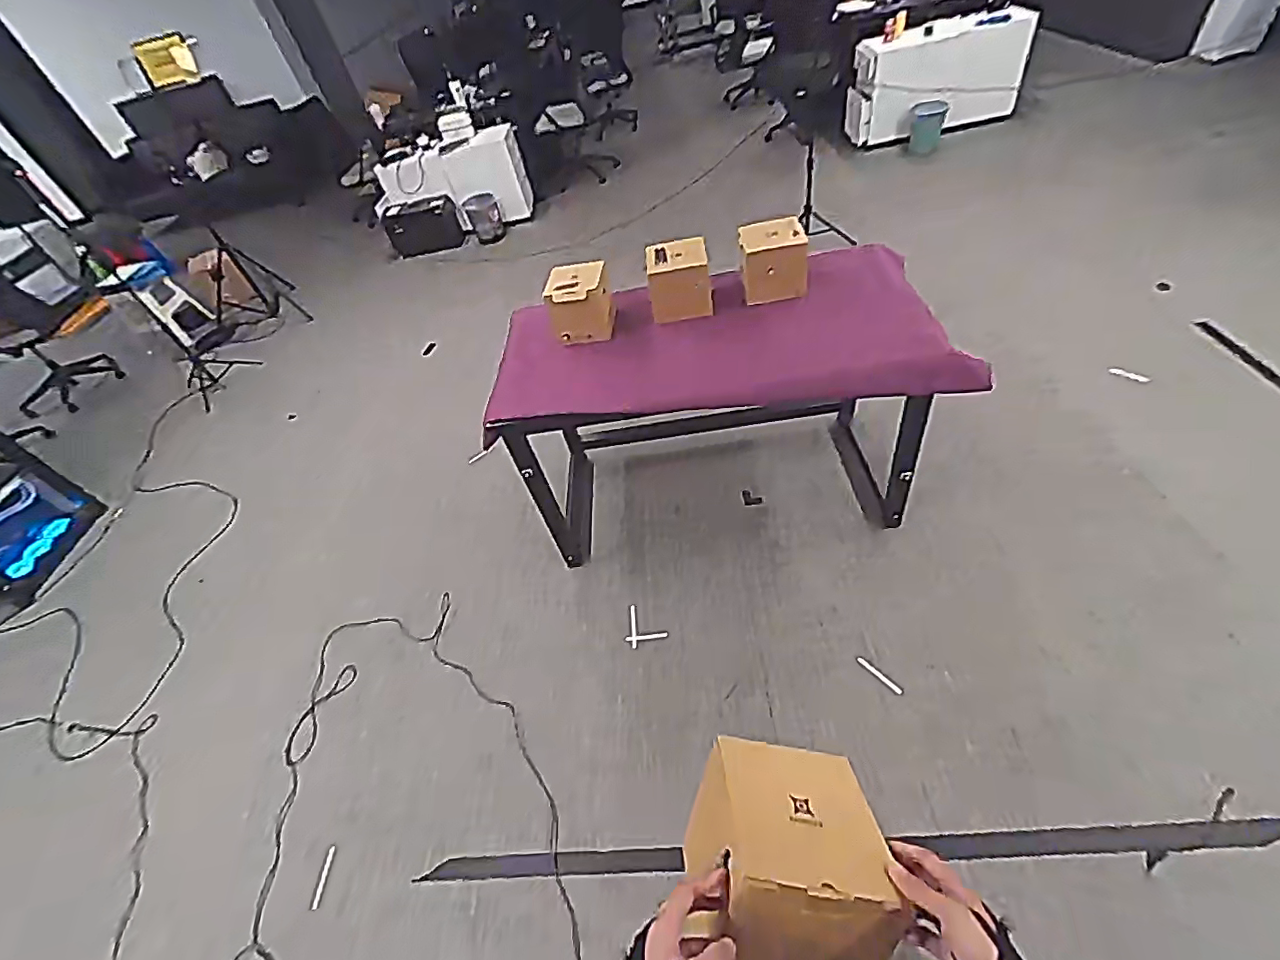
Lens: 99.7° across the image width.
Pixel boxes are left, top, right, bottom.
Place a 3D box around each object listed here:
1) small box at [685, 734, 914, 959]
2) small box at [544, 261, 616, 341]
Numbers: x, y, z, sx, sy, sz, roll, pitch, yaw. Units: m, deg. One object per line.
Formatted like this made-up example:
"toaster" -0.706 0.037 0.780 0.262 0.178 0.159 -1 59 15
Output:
"small box" 0.151 0.417 0.586 0.168 0.176 0.179 12 17 -5
"small box" -0.174 -0.536 1.642 0.168 0.176 0.179 -3 48 11
